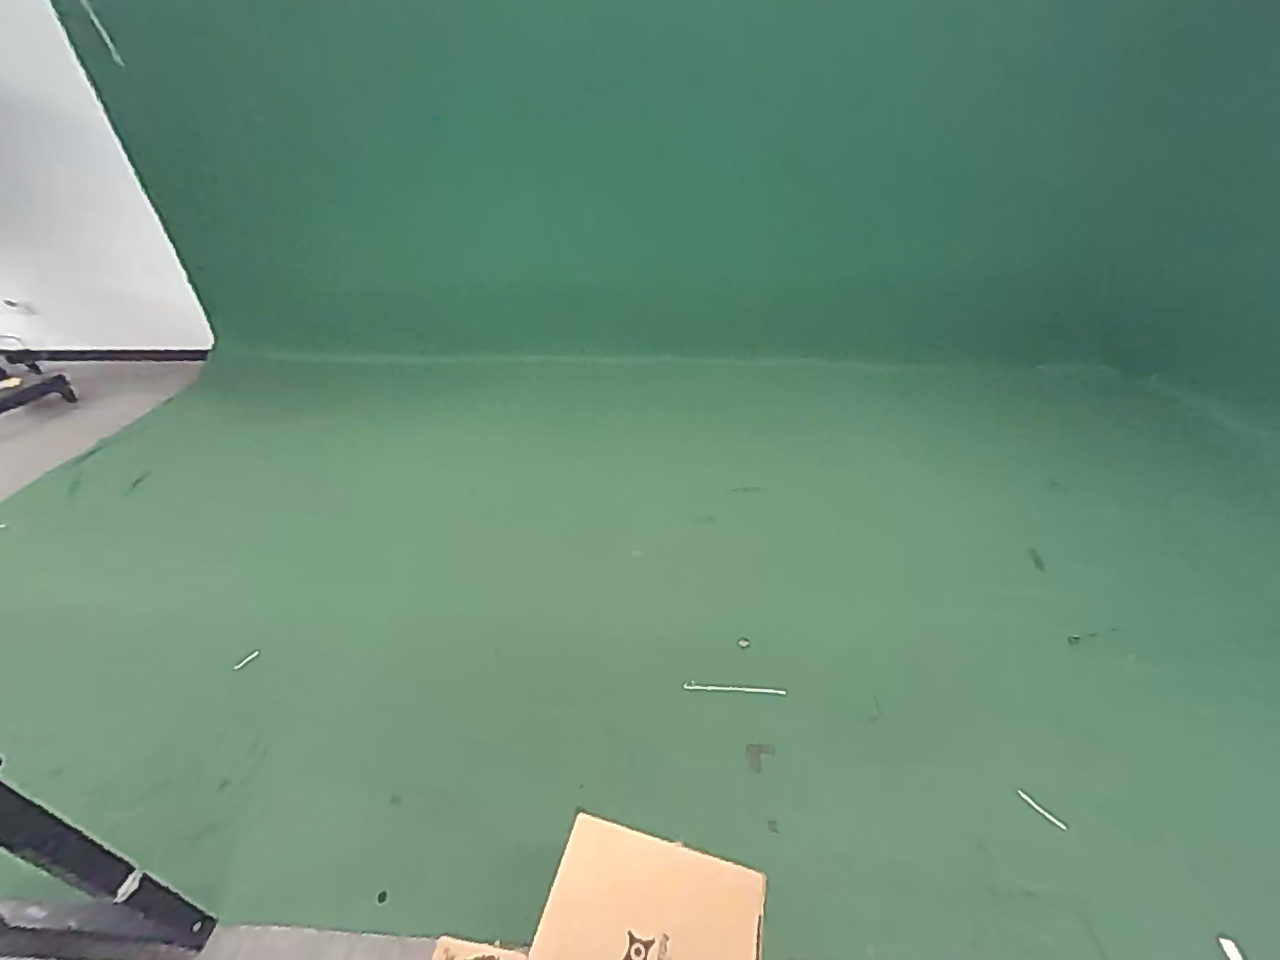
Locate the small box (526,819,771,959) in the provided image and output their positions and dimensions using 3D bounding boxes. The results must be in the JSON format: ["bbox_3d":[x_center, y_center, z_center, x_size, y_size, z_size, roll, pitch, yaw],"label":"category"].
[{"bbox_3d":[0.003,0.433,0.455,0.179,0.176,0.168,11,36,13],"label":"small box"}]

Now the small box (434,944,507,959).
[{"bbox_3d":[-0.280,0.928,0.906,0.168,0.176,0.179,4,37,9],"label":"small box"}]
